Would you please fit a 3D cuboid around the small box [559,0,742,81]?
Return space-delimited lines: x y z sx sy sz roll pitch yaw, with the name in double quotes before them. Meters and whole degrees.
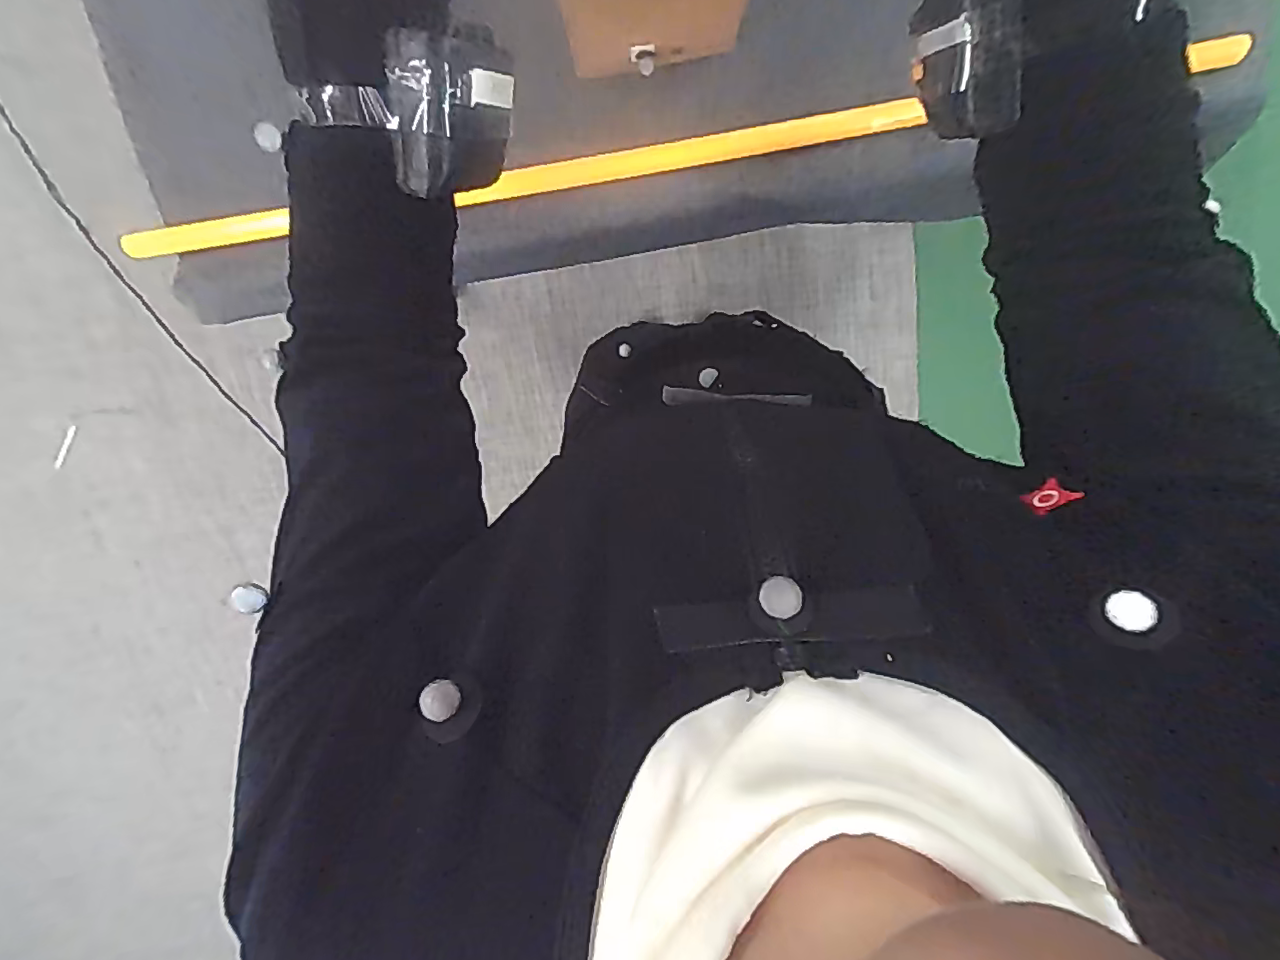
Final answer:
"small box" -0.001 -0.501 0.479 0.168 0.176 0.179 -10 106 4
